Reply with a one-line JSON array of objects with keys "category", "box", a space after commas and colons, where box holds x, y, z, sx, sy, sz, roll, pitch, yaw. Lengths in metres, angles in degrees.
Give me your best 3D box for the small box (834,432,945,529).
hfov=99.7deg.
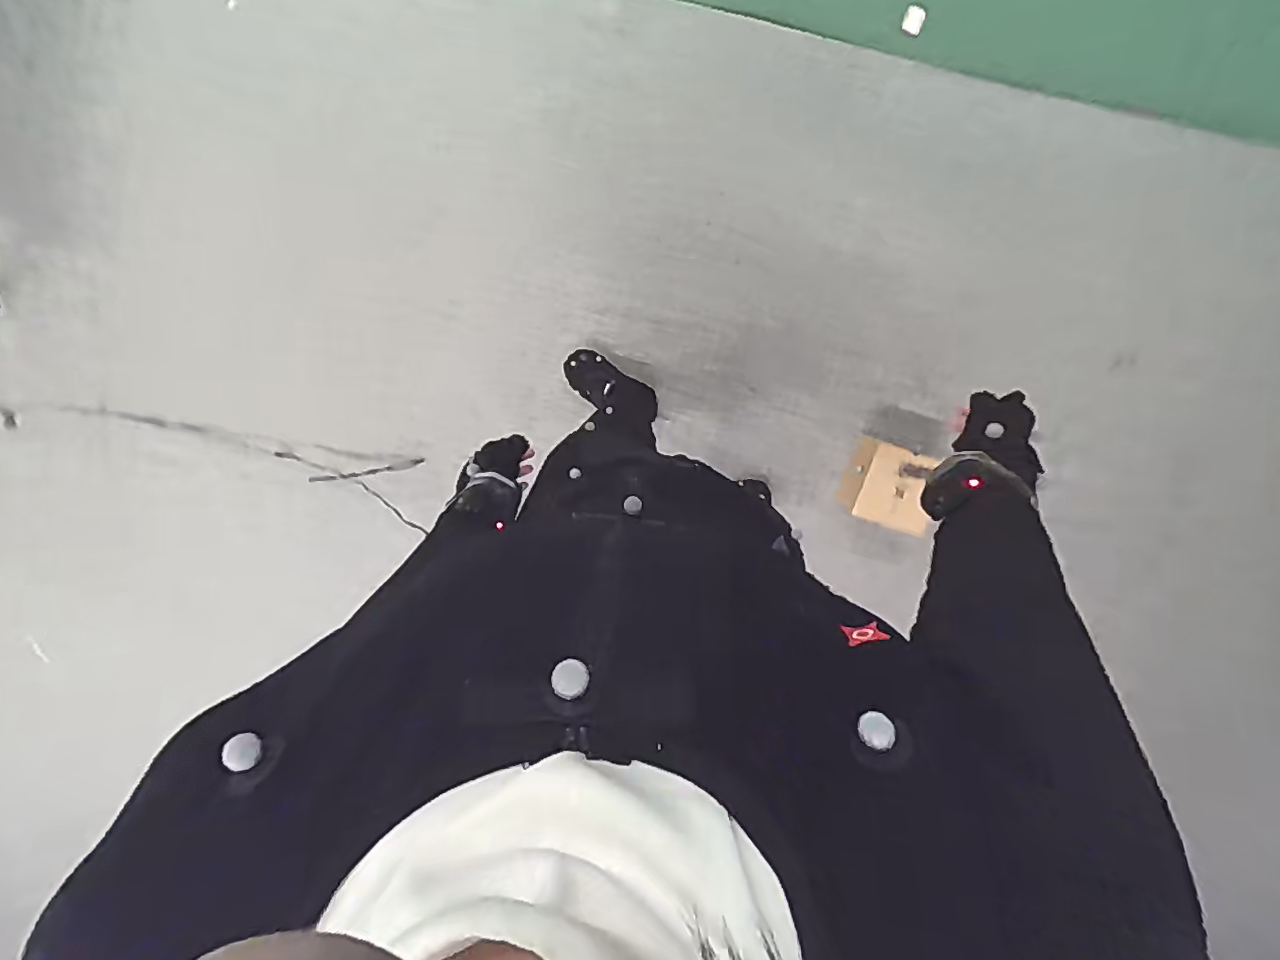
[{"category": "small box", "box": [0.584, -0.008, 1.293, 0.168, 0.176, 0.179, 19, 103, 4]}]
